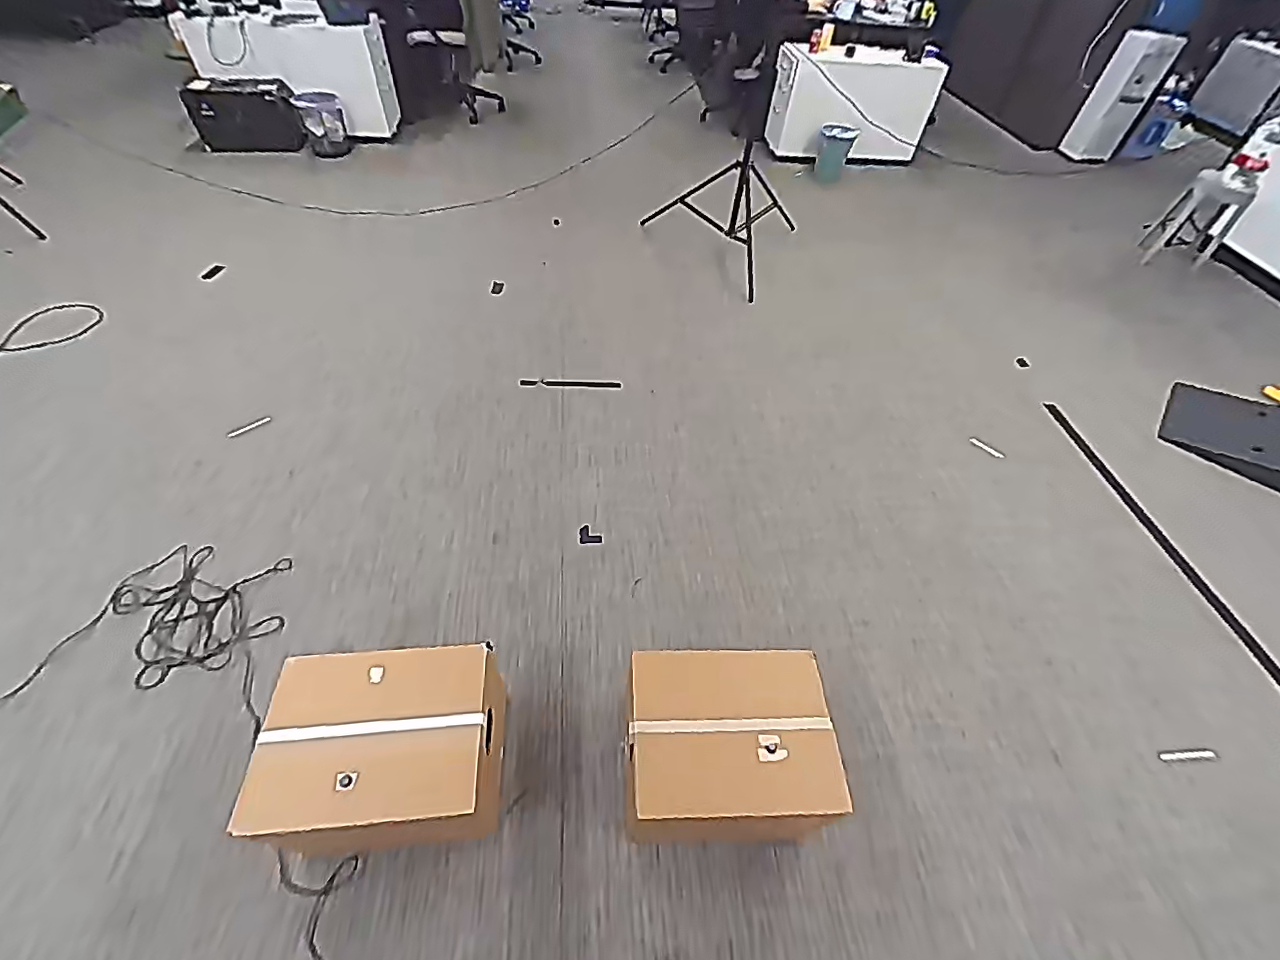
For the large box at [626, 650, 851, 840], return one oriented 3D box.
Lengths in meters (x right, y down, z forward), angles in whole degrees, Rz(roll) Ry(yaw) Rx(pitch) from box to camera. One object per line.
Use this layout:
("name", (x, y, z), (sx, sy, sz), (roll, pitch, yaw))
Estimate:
("large box", (0.180, 0.589, 1.200), (0.408, 0.320, 0.320), (2, 50, -5))
